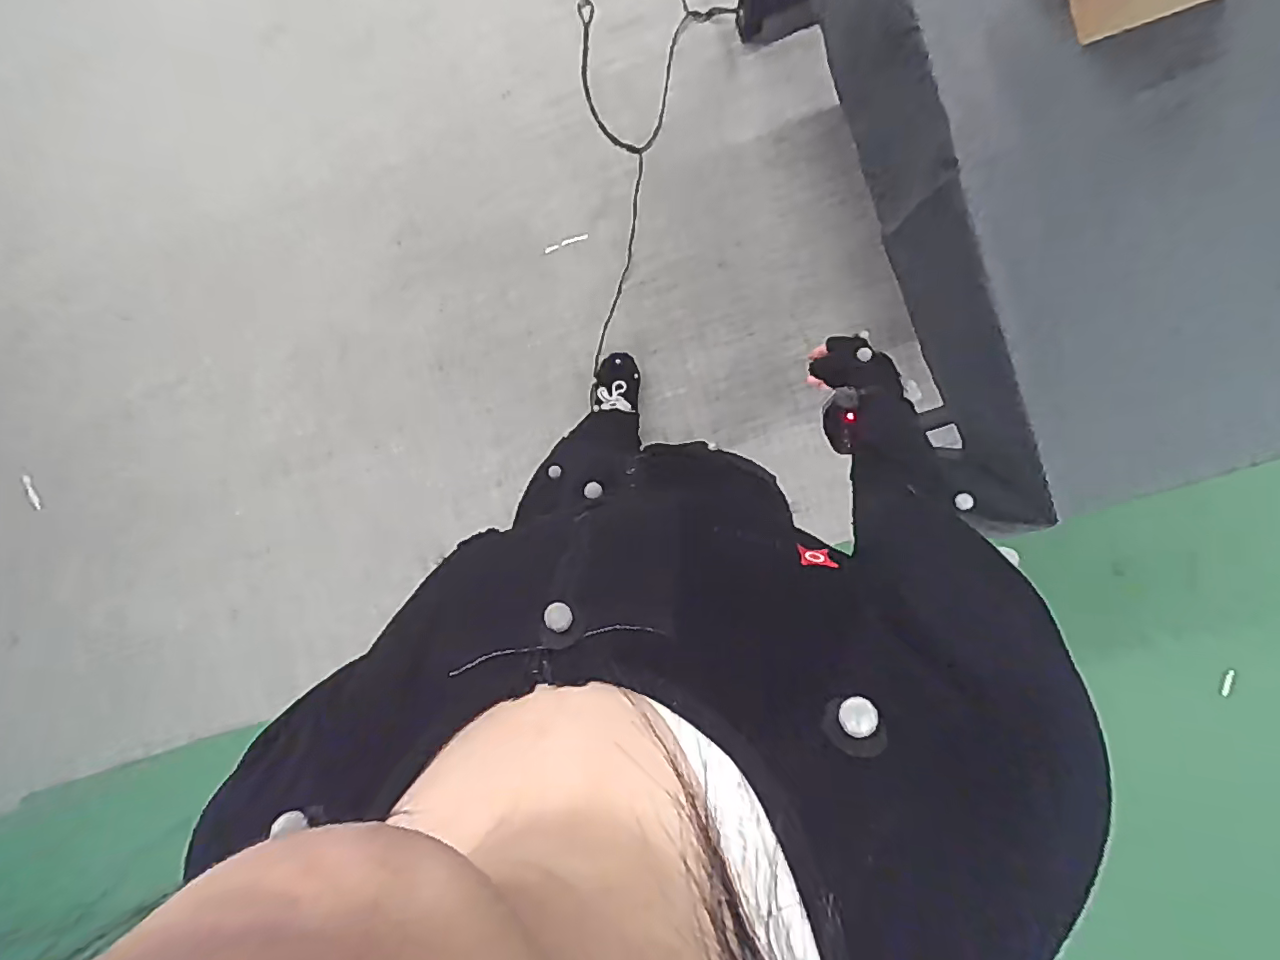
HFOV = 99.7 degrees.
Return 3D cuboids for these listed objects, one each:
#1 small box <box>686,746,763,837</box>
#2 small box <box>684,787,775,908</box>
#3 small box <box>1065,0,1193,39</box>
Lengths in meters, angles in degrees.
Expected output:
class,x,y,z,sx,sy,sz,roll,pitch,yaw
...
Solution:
class,x,y,z,sx,sy,sz,roll,pitch,yaw
small box,0.225,0.855,1.478,0.168,0.176,0.179,-14,96,4
small box,0.211,0.885,1.317,0.179,0.176,0.168,-15,95,5
small box,0.582,-0.623,0.563,0.179,0.176,0.168,-18,94,6
